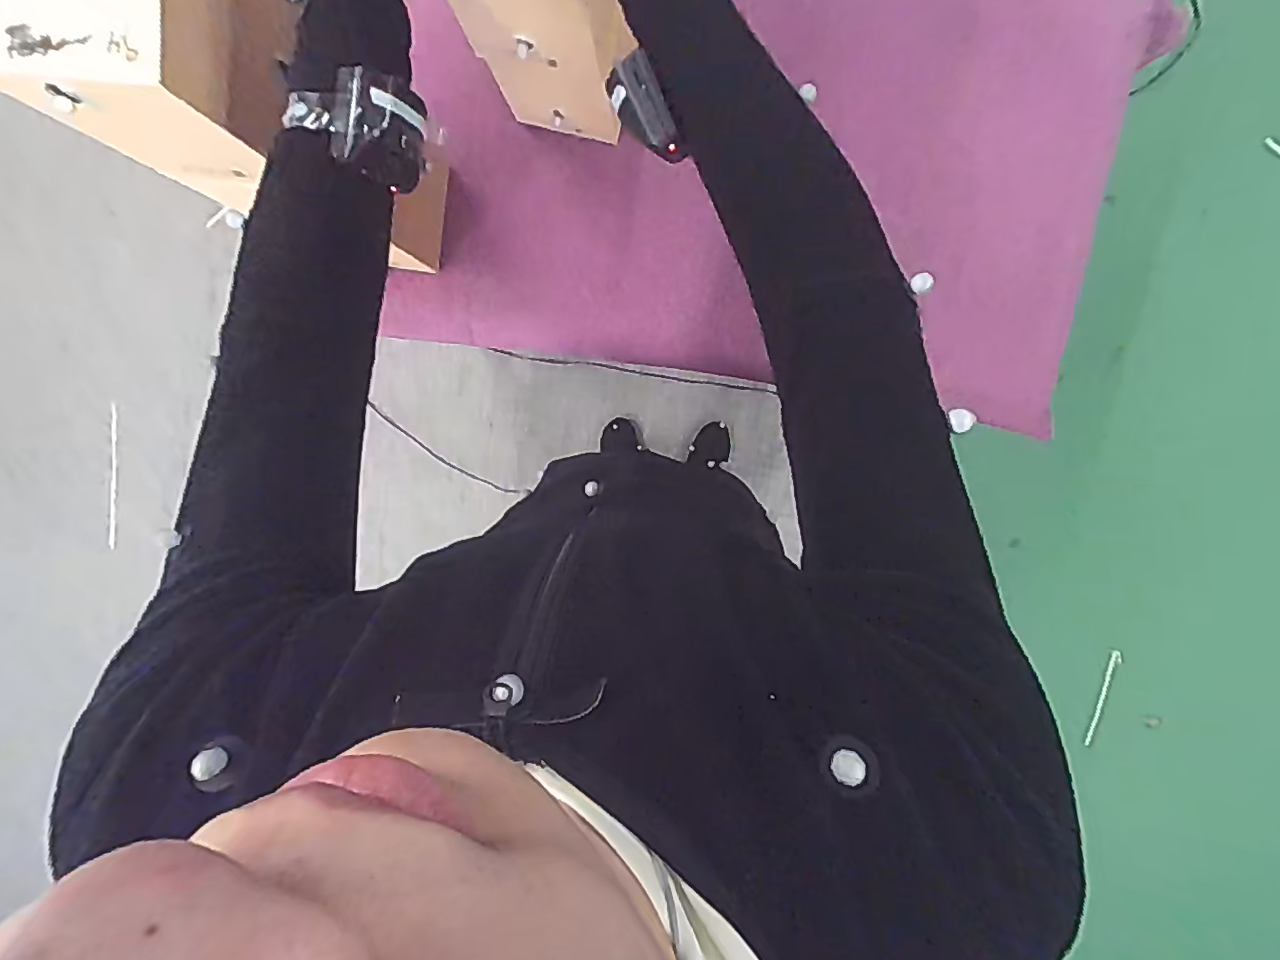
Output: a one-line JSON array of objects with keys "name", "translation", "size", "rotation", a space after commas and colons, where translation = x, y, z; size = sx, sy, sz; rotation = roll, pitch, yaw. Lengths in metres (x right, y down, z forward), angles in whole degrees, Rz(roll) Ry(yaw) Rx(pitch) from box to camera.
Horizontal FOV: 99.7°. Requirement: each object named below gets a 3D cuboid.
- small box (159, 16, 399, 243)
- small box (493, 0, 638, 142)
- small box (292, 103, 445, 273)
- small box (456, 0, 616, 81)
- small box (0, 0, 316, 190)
[{"name": "small box", "translation": [-0.406, -0.399, 0.633], "size": [0.168, 0.176, 0.179], "rotation": [10, 95, 2]}, {"name": "small box", "translation": [-0.101, -0.618, 0.755], "size": [0.168, 0.176, 0.179], "rotation": [14, 98, 1]}, {"name": "small box", "translation": [-0.402, -0.425, 0.793], "size": [0.168, 0.176, 0.179], "rotation": [9, 97, 2]}, {"name": "small box", "translation": [-0.115, -0.593, 0.594], "size": [0.168, 0.176, 0.179], "rotation": [12, 98, 1]}, {"name": "small box", "translation": [-0.414, -0.387, 0.469], "size": [0.168, 0.176, 0.179], "rotation": [8, 95, 4]}]
